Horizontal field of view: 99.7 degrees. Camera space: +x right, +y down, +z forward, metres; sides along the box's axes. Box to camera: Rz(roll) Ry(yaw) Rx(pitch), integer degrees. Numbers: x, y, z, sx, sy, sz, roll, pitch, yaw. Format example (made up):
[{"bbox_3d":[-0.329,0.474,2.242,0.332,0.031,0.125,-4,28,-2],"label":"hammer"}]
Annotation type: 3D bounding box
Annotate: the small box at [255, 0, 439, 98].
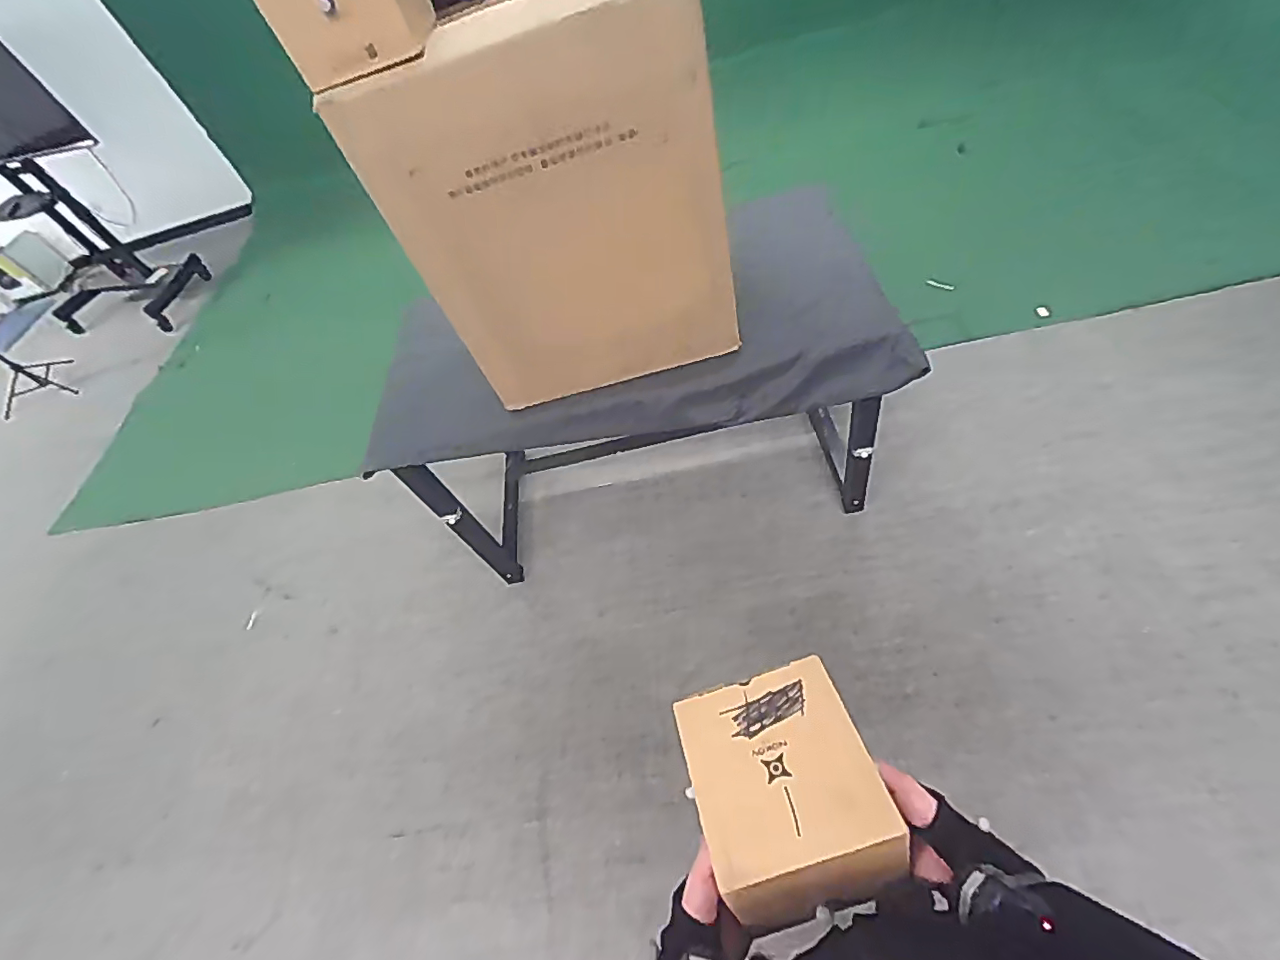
[{"bbox_3d":[-0.390,-0.646,0.722,0.168,0.176,0.179,-13,53,7],"label":"small box"}]
